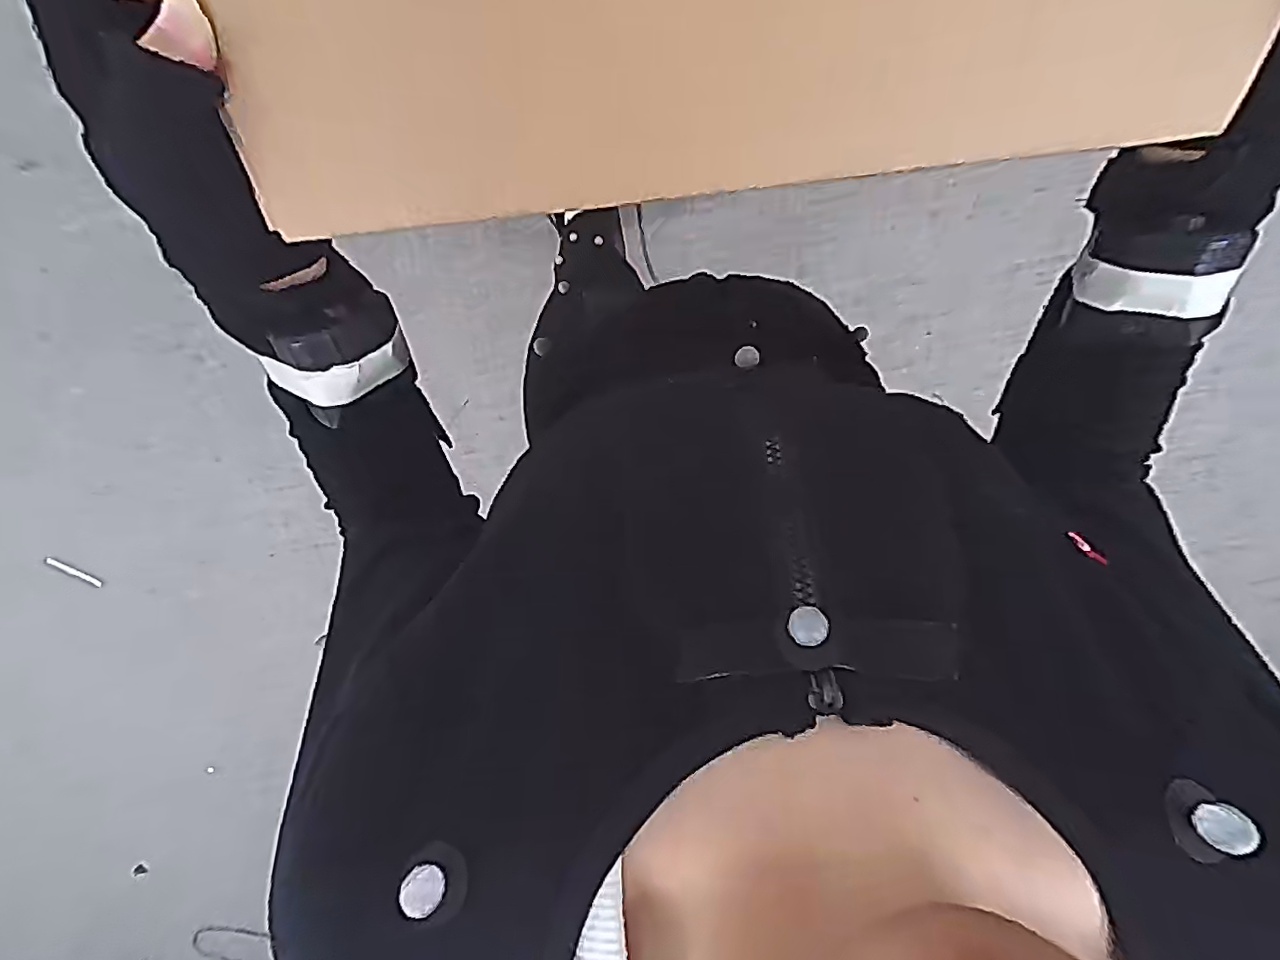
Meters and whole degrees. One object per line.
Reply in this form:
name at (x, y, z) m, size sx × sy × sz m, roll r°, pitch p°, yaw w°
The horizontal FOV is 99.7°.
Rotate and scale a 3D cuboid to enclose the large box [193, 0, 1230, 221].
large box at (0.015, -0.349, 0.267) m, size 0.408 × 0.320 × 0.320 m, roll -6°, pitch 128°, yaw 1°
